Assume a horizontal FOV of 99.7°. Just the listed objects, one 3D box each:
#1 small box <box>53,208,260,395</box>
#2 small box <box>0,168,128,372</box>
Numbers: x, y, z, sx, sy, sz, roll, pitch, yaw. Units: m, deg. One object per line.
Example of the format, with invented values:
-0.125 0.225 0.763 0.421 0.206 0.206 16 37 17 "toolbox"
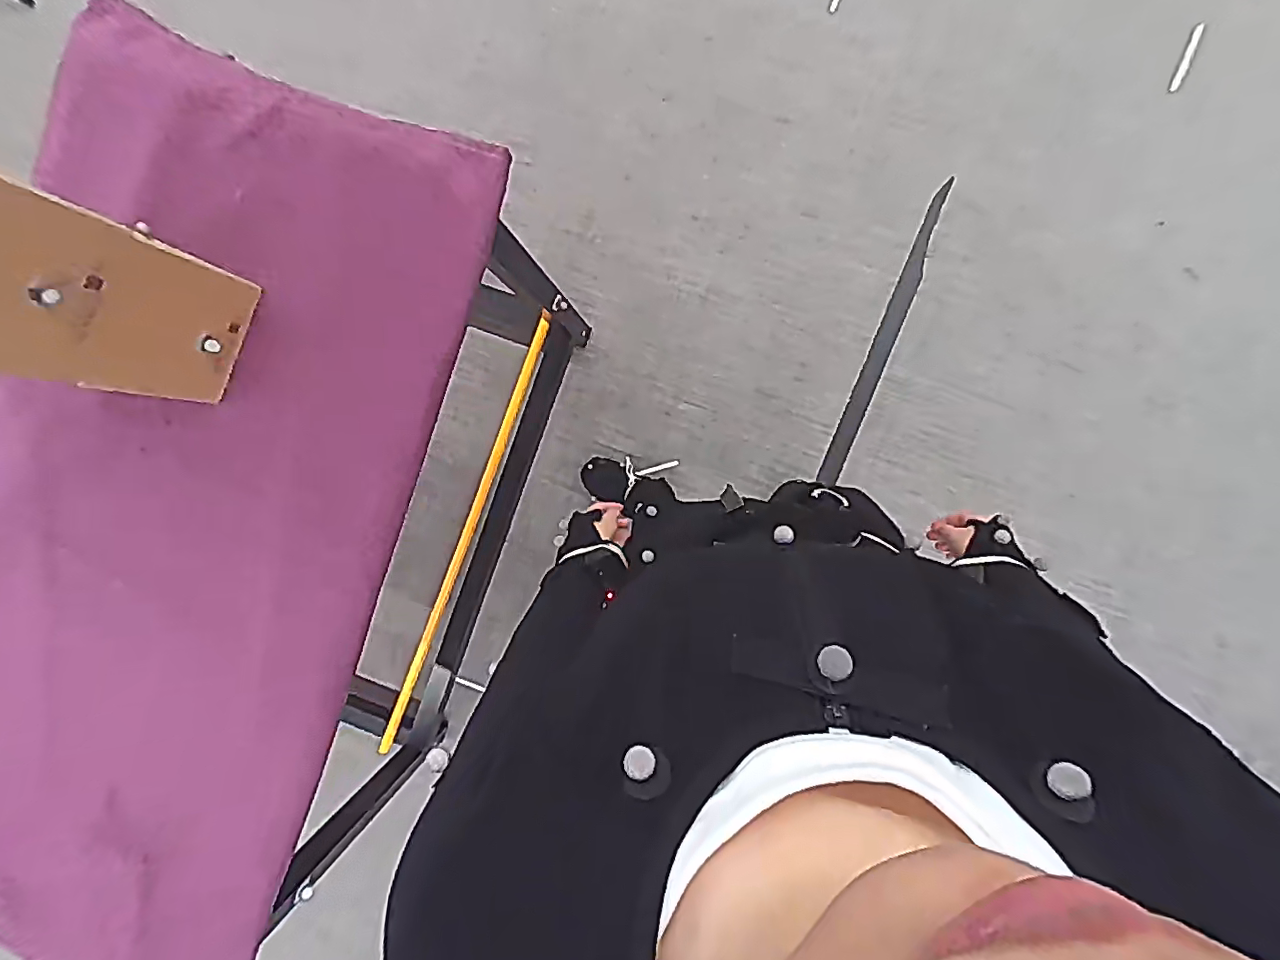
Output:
-0.604 -0.209 0.628 0.179 0.176 0.168 24 94 4 "small box"
-0.618 -0.206 0.464 0.179 0.176 0.168 24 95 4 "small box"
